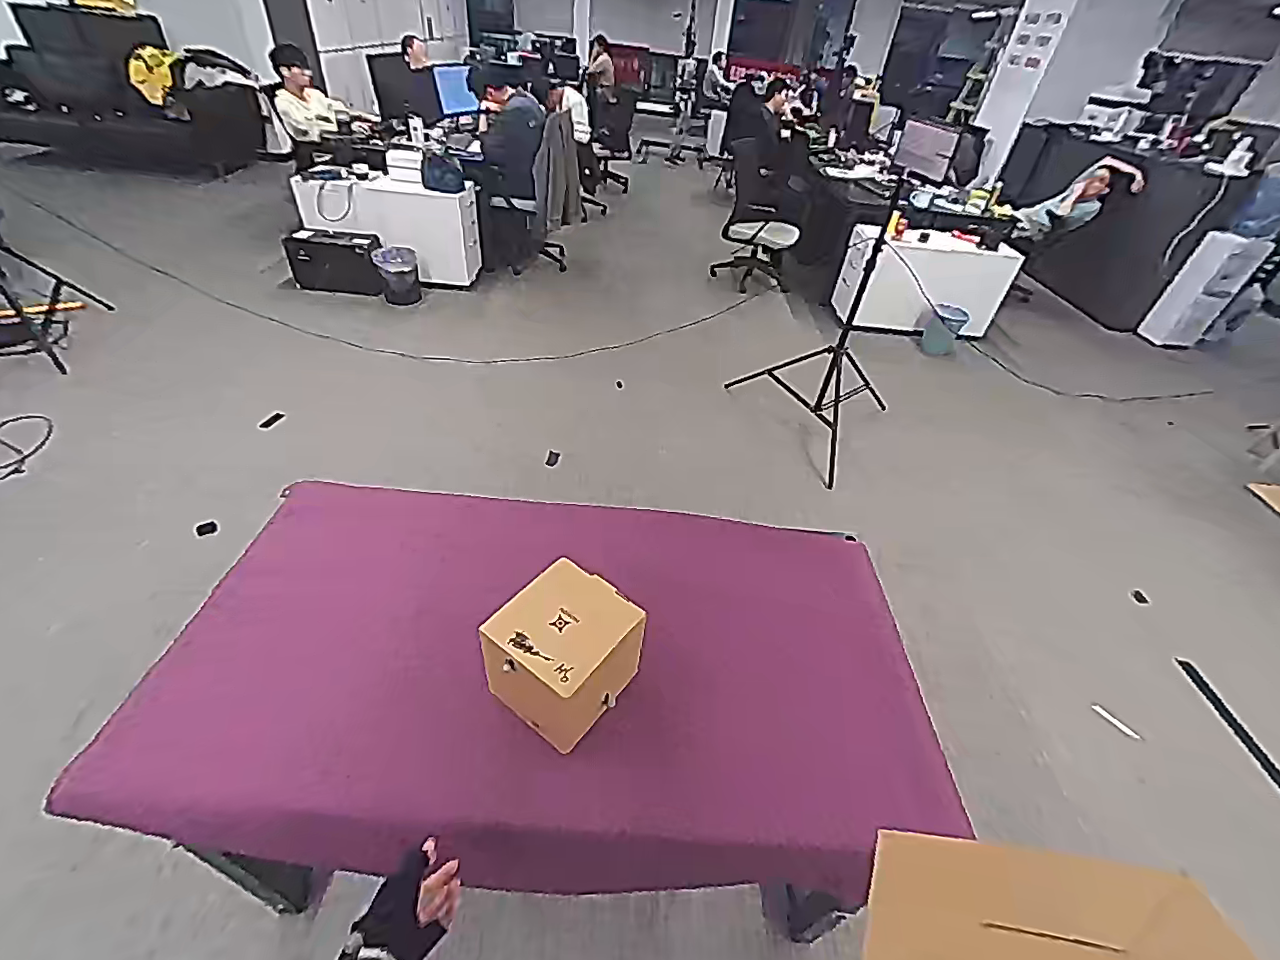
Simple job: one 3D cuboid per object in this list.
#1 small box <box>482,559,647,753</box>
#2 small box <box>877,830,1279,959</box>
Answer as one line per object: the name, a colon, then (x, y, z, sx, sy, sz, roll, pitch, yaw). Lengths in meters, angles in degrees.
small box: (-0.113, 0.259, 0.808, 0.168, 0.176, 0.179, 29, 44, 24)
small box: (0.208, 0.294, 0.246, 0.168, 0.176, 0.179, -7, -9, 27)
